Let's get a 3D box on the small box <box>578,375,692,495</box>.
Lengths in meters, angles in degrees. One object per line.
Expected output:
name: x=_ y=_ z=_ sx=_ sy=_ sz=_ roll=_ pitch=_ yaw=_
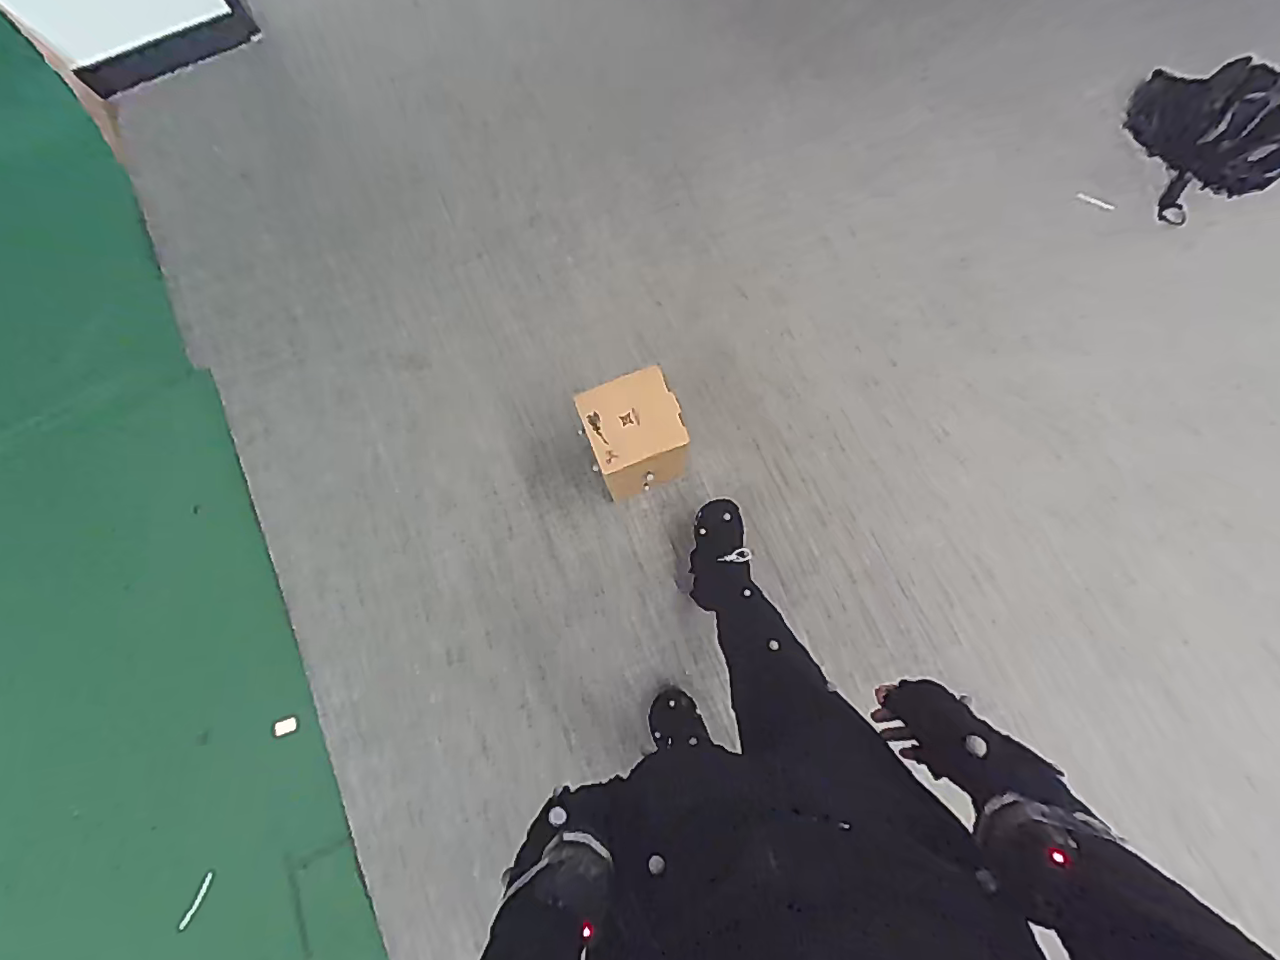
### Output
small box: x=-0.011 y=-0.084 z=1.089 sx=0.179 sy=0.176 sz=0.168 roll=-21 pitch=79 yaw=-4

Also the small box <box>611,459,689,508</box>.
small box: x=-0.006 y=-0.051 z=1.249 sx=0.179 sy=0.176 sz=0.168 roll=-25 pitch=80 yaw=-5
